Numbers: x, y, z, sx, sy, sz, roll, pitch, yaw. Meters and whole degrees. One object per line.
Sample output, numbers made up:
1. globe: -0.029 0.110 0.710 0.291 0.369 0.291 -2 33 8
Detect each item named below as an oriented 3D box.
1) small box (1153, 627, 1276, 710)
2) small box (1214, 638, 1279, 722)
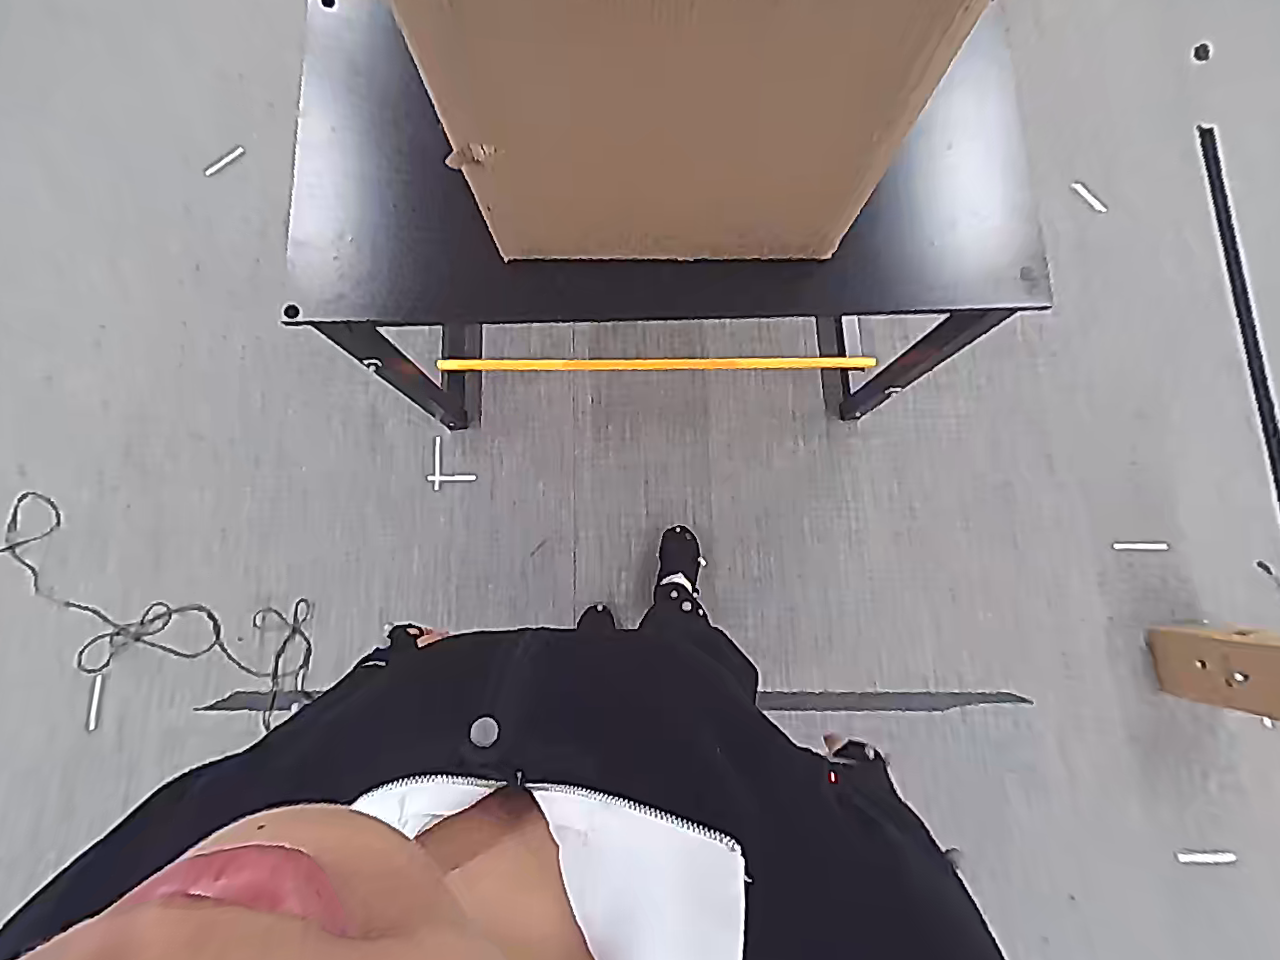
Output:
1. small box: 1.481 0.476 1.390 0.168 0.176 0.179 -4 82 -1
2. small box: 1.484 0.455 1.227 0.179 0.176 0.168 -1 81 0
